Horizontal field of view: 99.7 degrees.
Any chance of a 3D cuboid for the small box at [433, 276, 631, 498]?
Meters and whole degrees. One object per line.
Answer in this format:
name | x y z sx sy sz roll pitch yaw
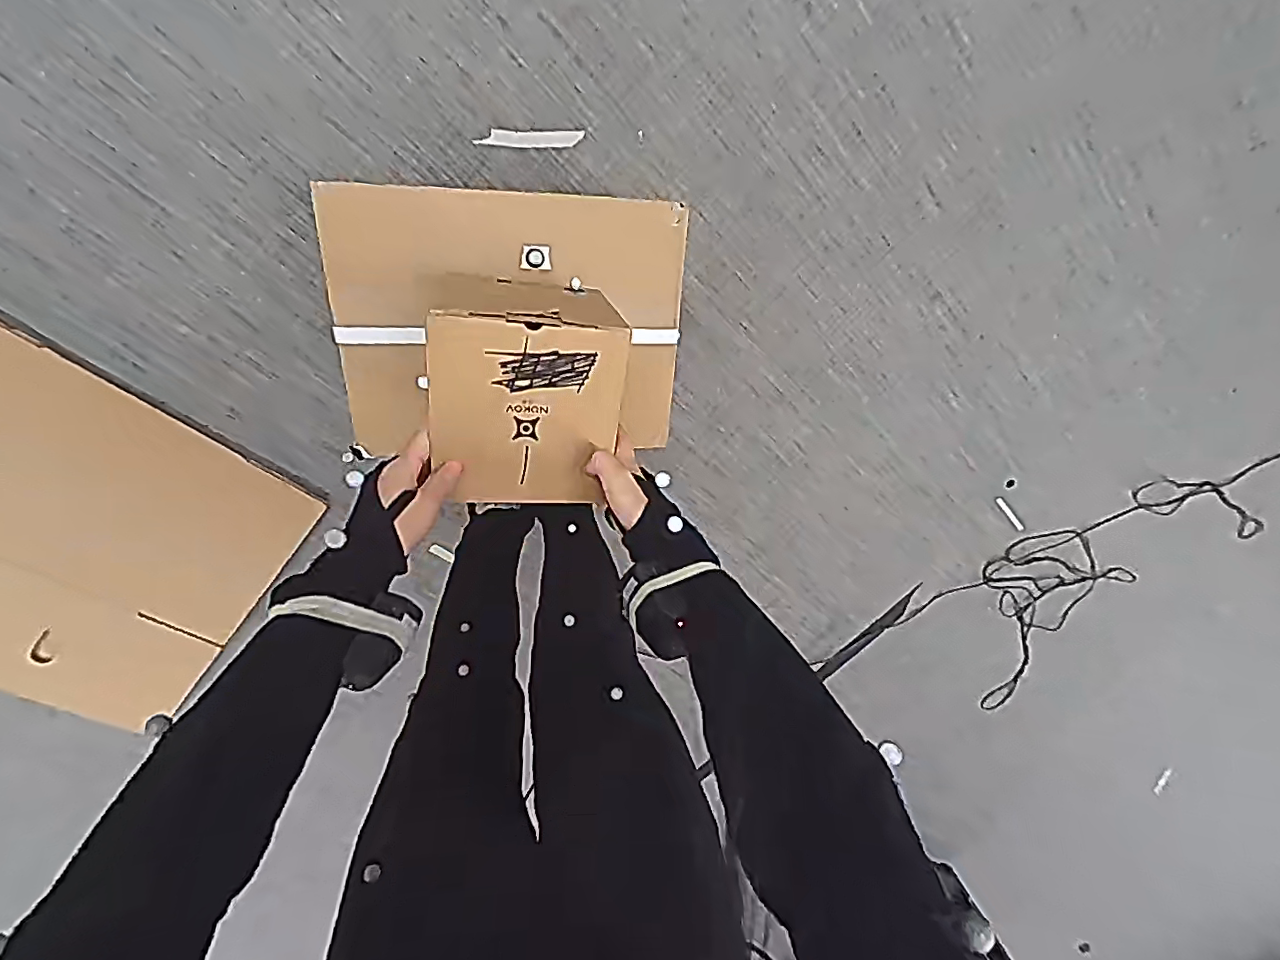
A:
small box | -0.116 -0.098 0.547 0.168 0.176 0.179 1 120 -16
